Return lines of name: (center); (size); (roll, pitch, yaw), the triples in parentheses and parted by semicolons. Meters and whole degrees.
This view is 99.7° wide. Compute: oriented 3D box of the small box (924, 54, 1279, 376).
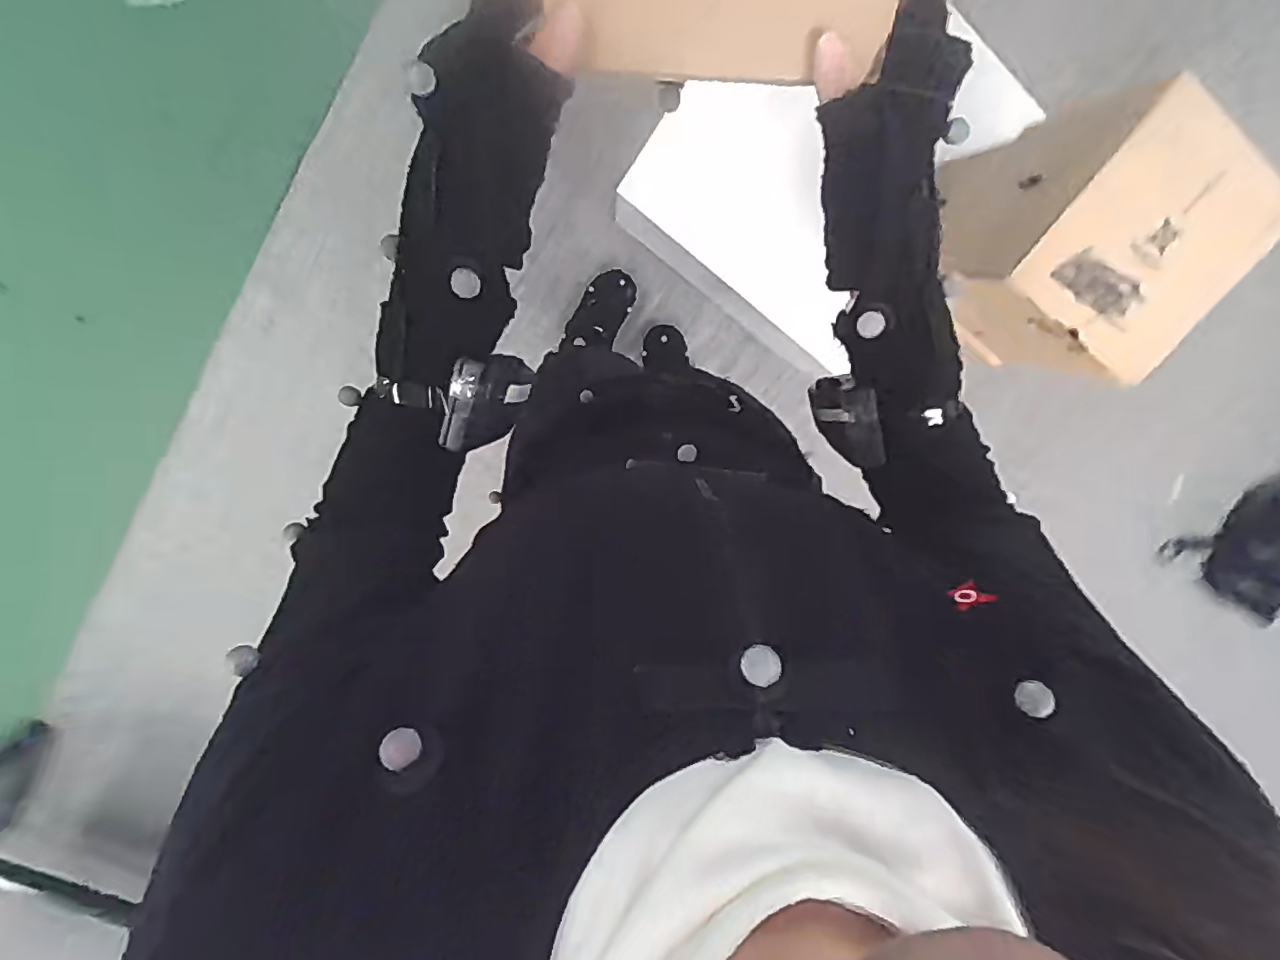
small box: (0.403, -0.227, 0.502); (0.168, 0.176, 0.179); (32, 107, -14)

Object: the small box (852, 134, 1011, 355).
small box: (0.398, -0.282, 0.658); (0.168, 0.176, 0.179); (35, 107, -14)

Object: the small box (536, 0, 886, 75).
small box: (0.033, -0.319, 0.275); (0.168, 0.176, 0.179); (0, 128, -1)
